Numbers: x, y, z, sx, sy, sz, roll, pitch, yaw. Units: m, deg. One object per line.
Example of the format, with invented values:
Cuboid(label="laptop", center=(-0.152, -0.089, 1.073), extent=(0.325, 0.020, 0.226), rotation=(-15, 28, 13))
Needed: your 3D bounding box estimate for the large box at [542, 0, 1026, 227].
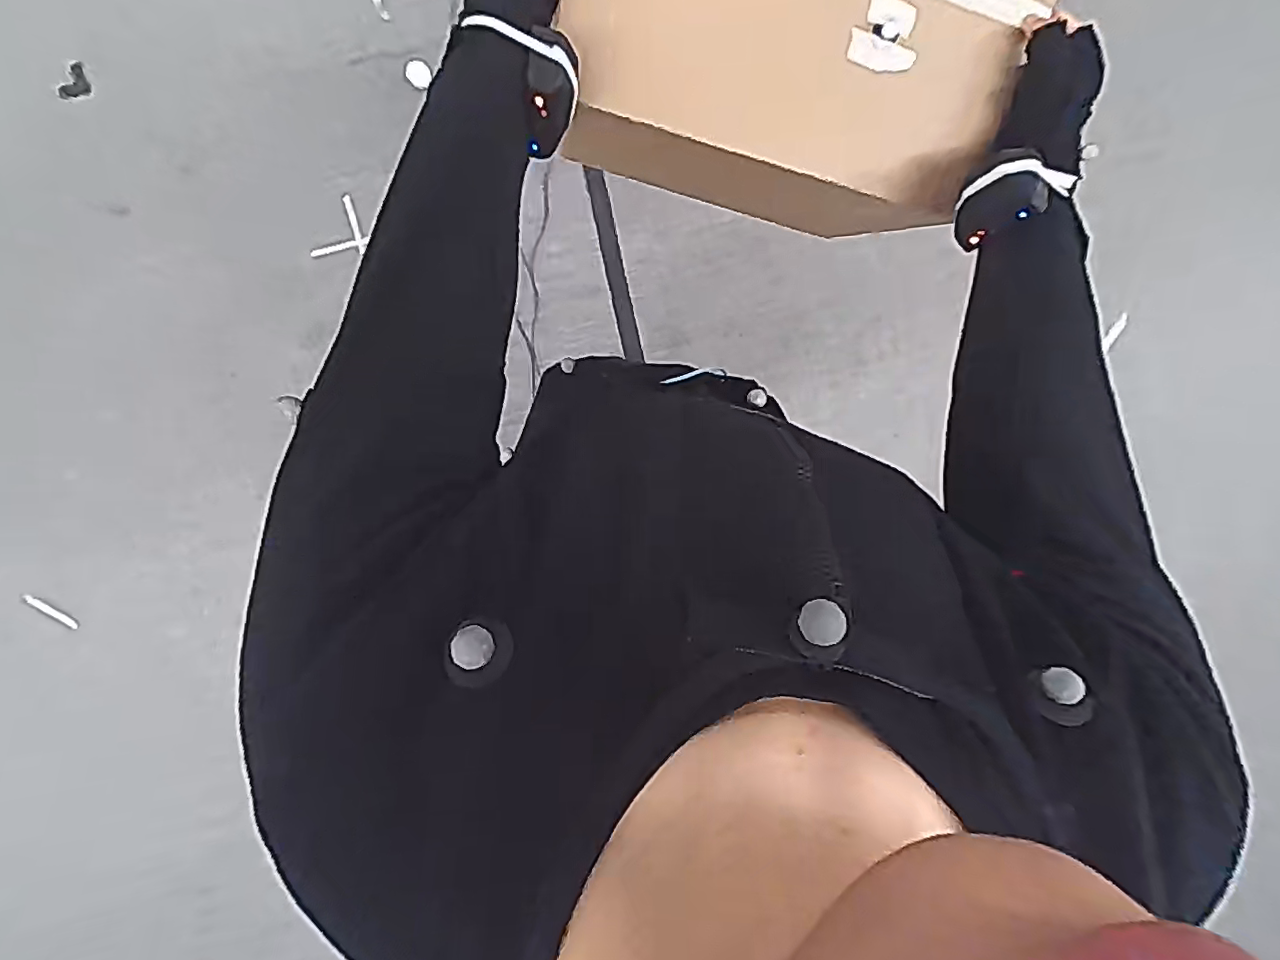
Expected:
Cuboid(label="large box", center=(0.122, -0.488, 0.578), extent=(0.408, 0.320, 0.320), rotation=(10, 111, -10))
